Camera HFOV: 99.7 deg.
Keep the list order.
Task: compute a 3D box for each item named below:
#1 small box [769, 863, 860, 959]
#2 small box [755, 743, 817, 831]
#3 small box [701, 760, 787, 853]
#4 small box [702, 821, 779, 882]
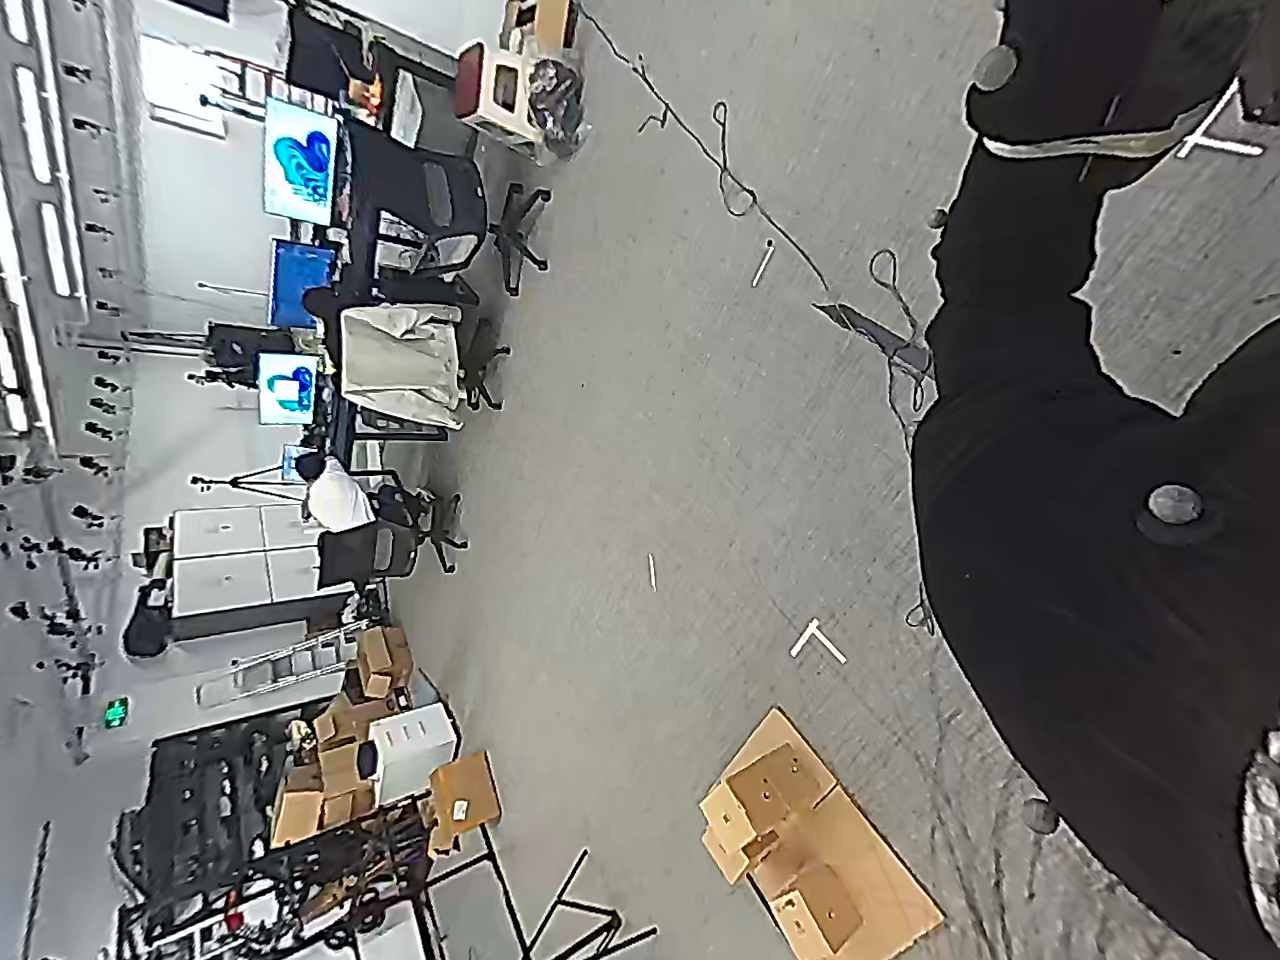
[{"bbox_3d":[0.553,1.360,1.705,0.179,0.176,0.168,56,132,30],"label":"small box"},{"bbox_3d":[0.457,1.021,1.807,0.168,0.176,0.179,49,127,37],"label":"small box"},{"bbox_3d":[0.330,1.025,1.705,0.168,0.176,0.179,53,129,35],"label":"small box"},{"bbox_3d":[0.361,1.280,1.944,0.179,0.176,0.168,45,126,40],"label":"small box"}]
